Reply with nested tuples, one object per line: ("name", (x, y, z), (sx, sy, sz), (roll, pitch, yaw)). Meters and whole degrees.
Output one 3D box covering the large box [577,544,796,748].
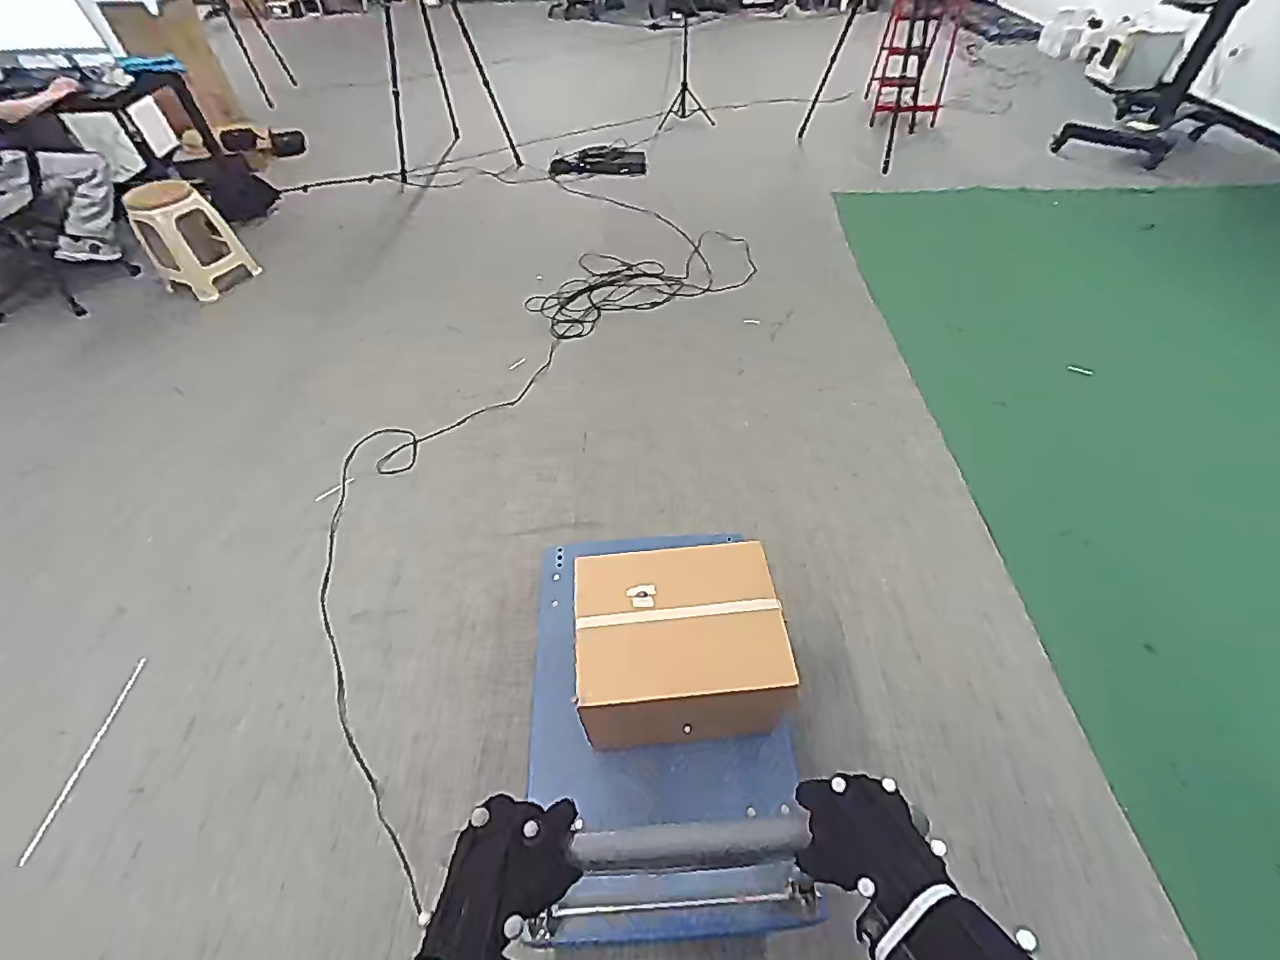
("large box", (0.085, 0.371, 1.189), (0.408, 0.320, 0.320), (-6, 49, 0))
